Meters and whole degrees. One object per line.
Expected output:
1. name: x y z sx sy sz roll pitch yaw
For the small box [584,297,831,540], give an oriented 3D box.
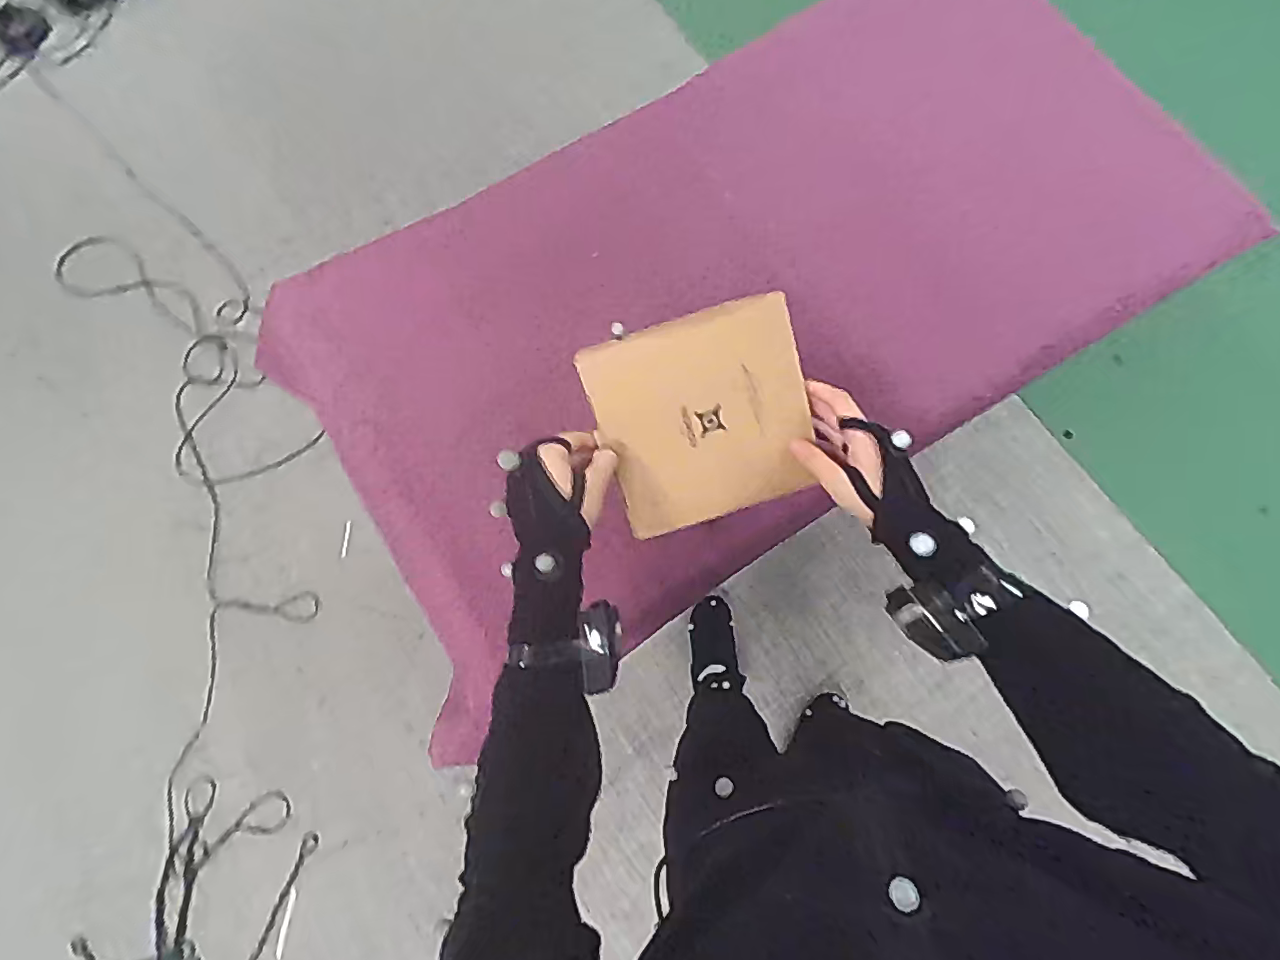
1. small box: 0.055 -0.065 0.518 0.179 0.176 0.168 -16 106 0
